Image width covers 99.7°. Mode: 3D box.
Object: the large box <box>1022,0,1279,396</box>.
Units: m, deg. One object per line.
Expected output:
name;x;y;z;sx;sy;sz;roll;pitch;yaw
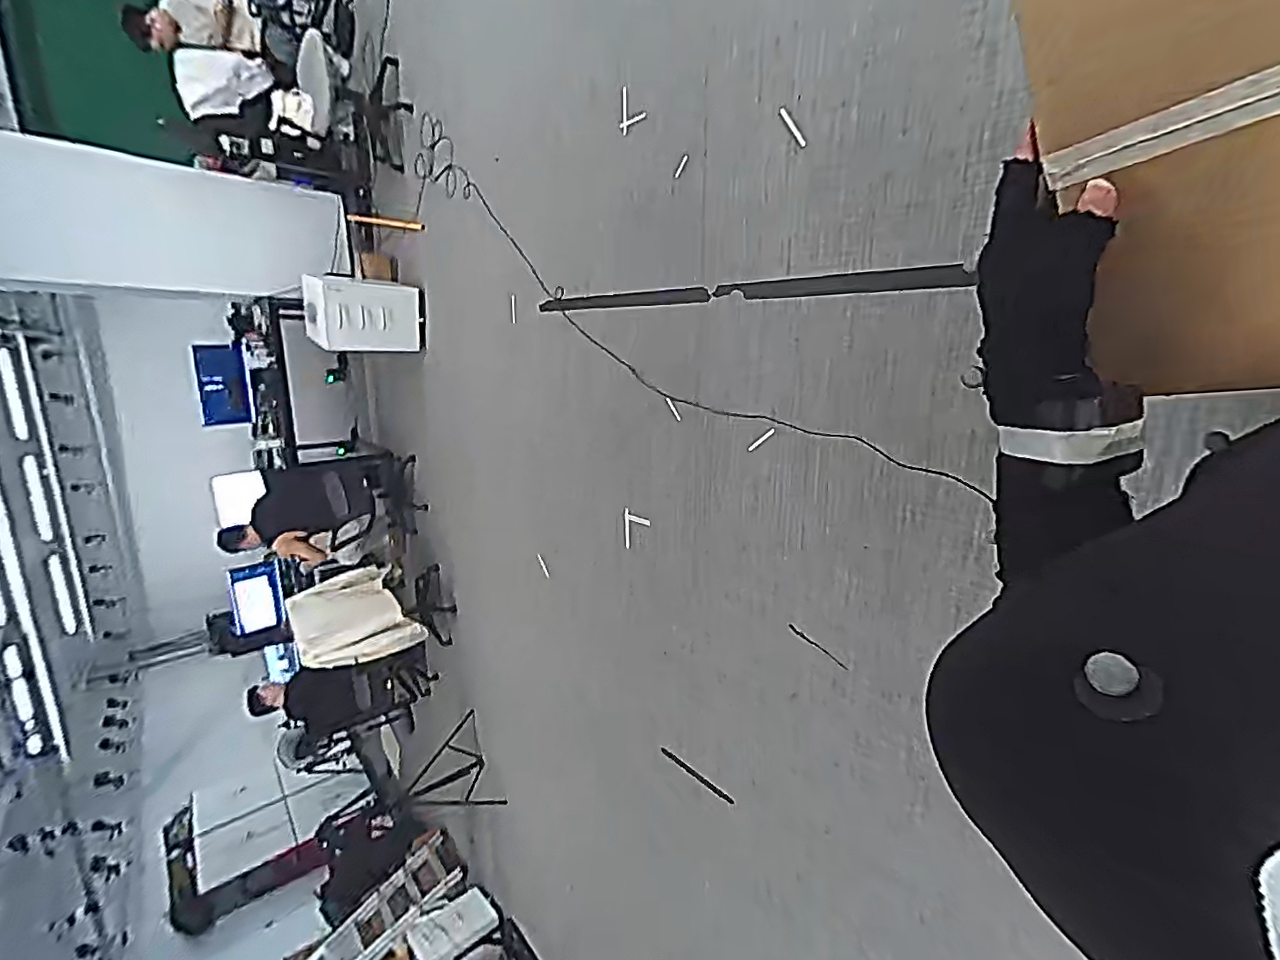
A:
large box;0.467;-0.264;0.237;0.408;0.320;0.320;3;127;55
